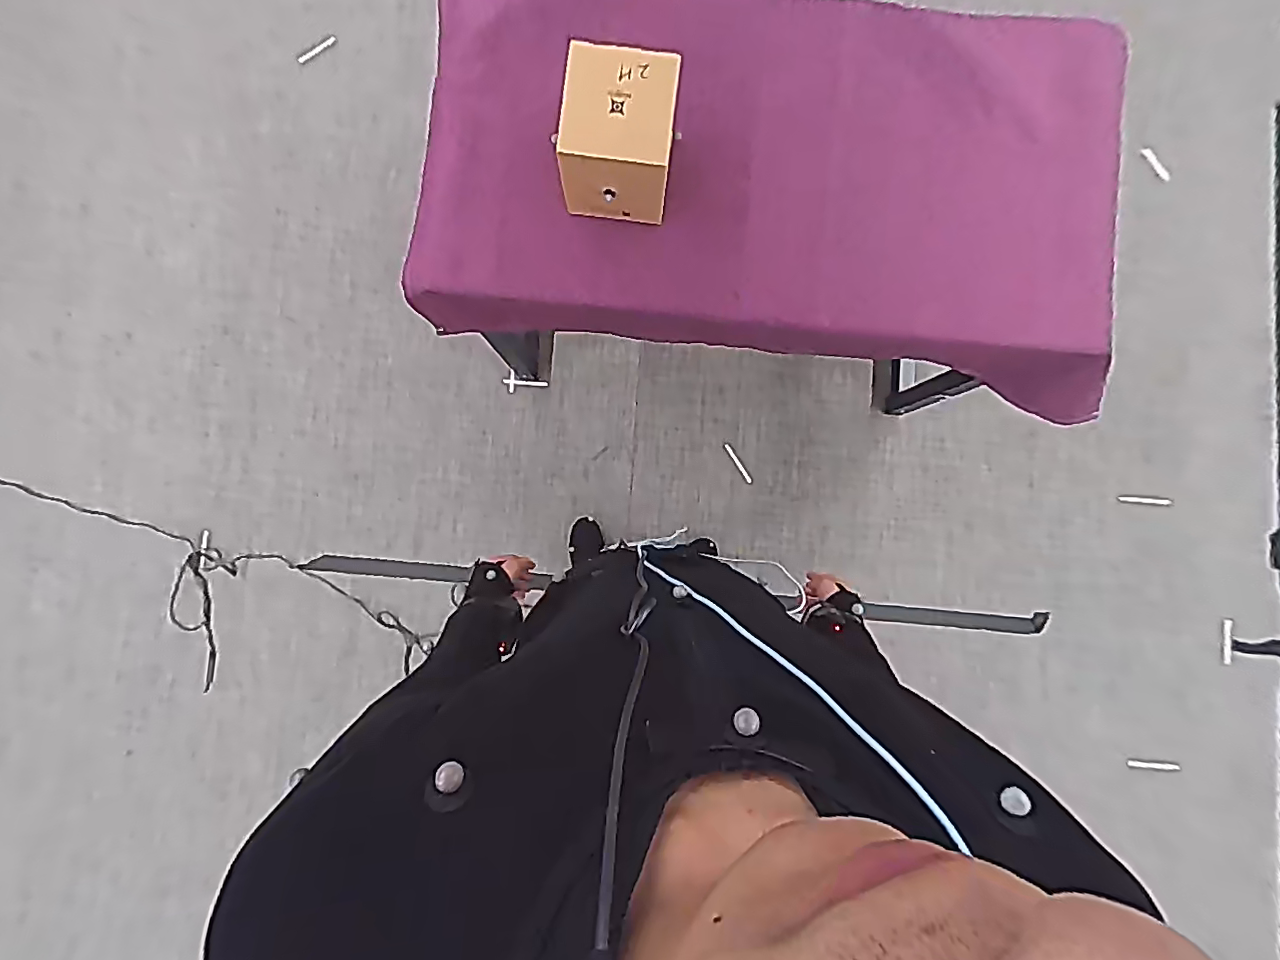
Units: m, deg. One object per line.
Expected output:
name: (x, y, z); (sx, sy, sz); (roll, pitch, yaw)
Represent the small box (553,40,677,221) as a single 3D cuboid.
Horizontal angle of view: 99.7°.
small box: (-0.037, -0.548, 0.871); (0.168, 0.176, 0.179); (7, 87, -2)
